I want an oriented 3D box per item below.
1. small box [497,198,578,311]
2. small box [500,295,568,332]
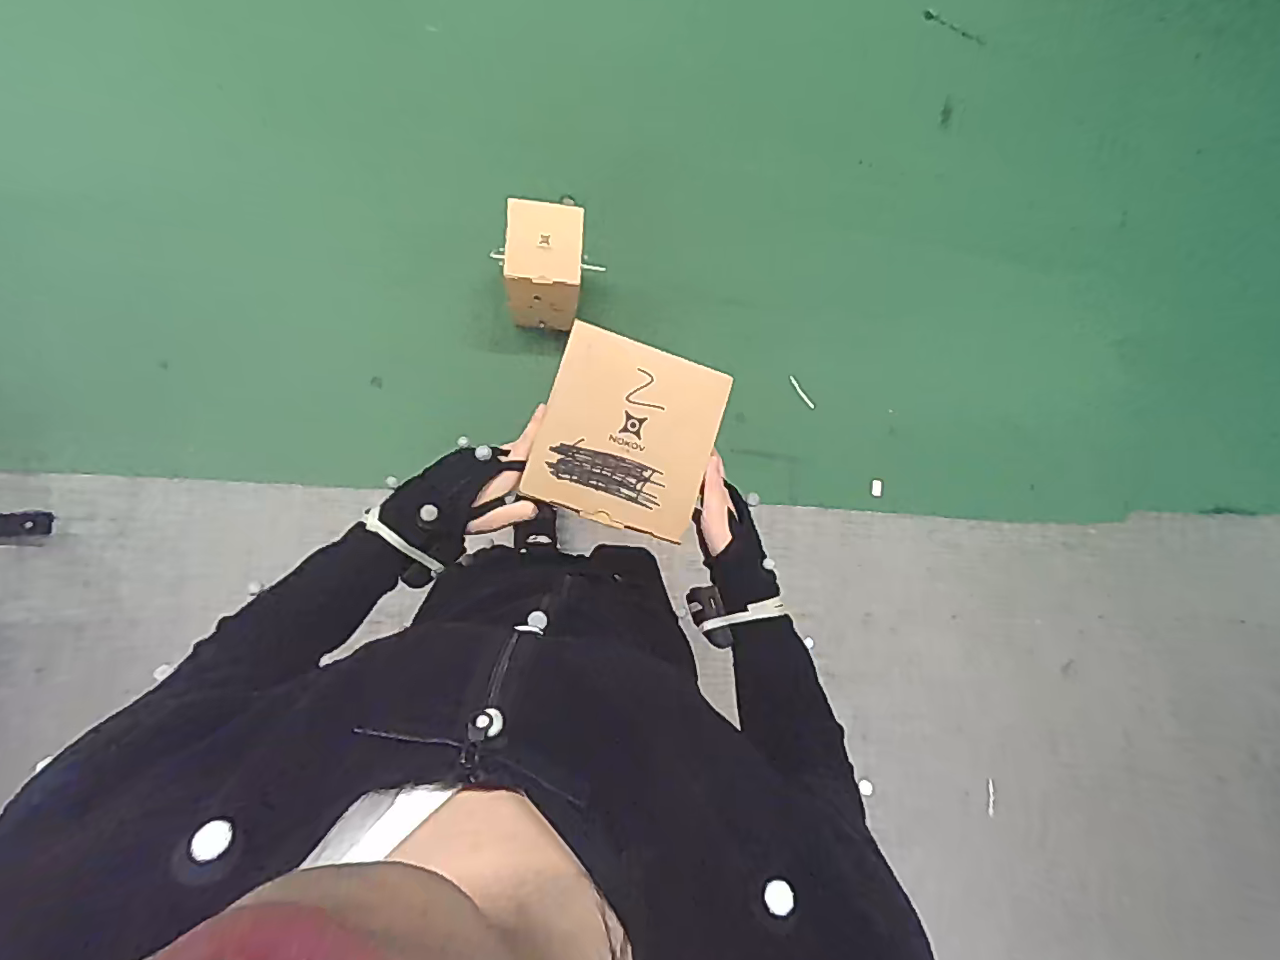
[{"bbox_3d":[-0.237,-0.510,1.241,0.168,0.176,0.179,2,88,-11],"label":"small box"},{"bbox_3d":[-0.268,-0.502,1.400,0.168,0.176,0.179,4,87,-10],"label":"small box"}]
